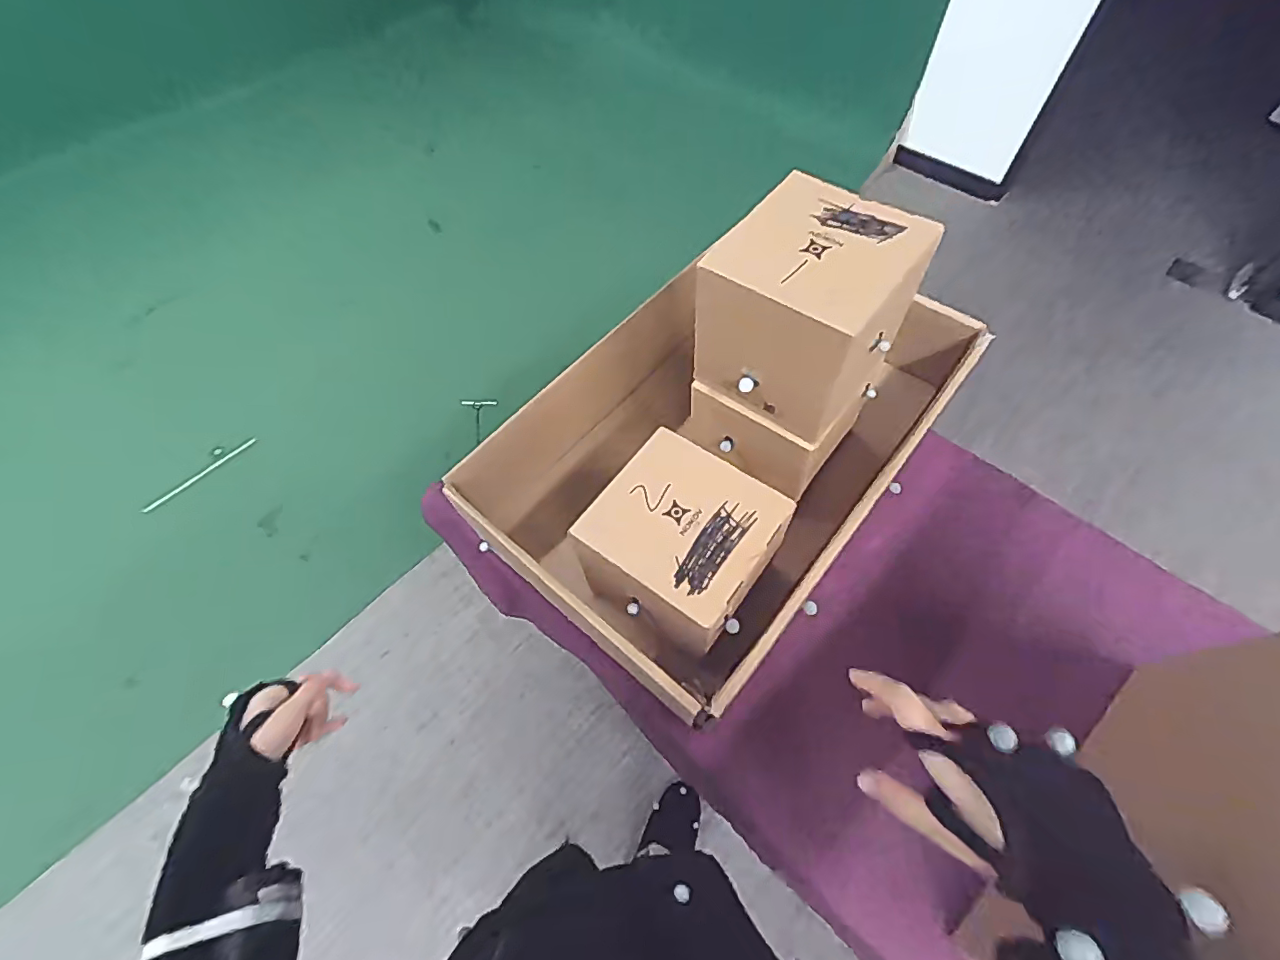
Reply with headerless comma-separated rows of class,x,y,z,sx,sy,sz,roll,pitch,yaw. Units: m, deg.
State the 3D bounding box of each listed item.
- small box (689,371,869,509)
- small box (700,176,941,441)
small box,0.182,-0.092,0.719,0.168,0.176,0.179,33,68,21
small box,0.175,-0.178,0.579,0.168,0.176,0.179,34,69,22
